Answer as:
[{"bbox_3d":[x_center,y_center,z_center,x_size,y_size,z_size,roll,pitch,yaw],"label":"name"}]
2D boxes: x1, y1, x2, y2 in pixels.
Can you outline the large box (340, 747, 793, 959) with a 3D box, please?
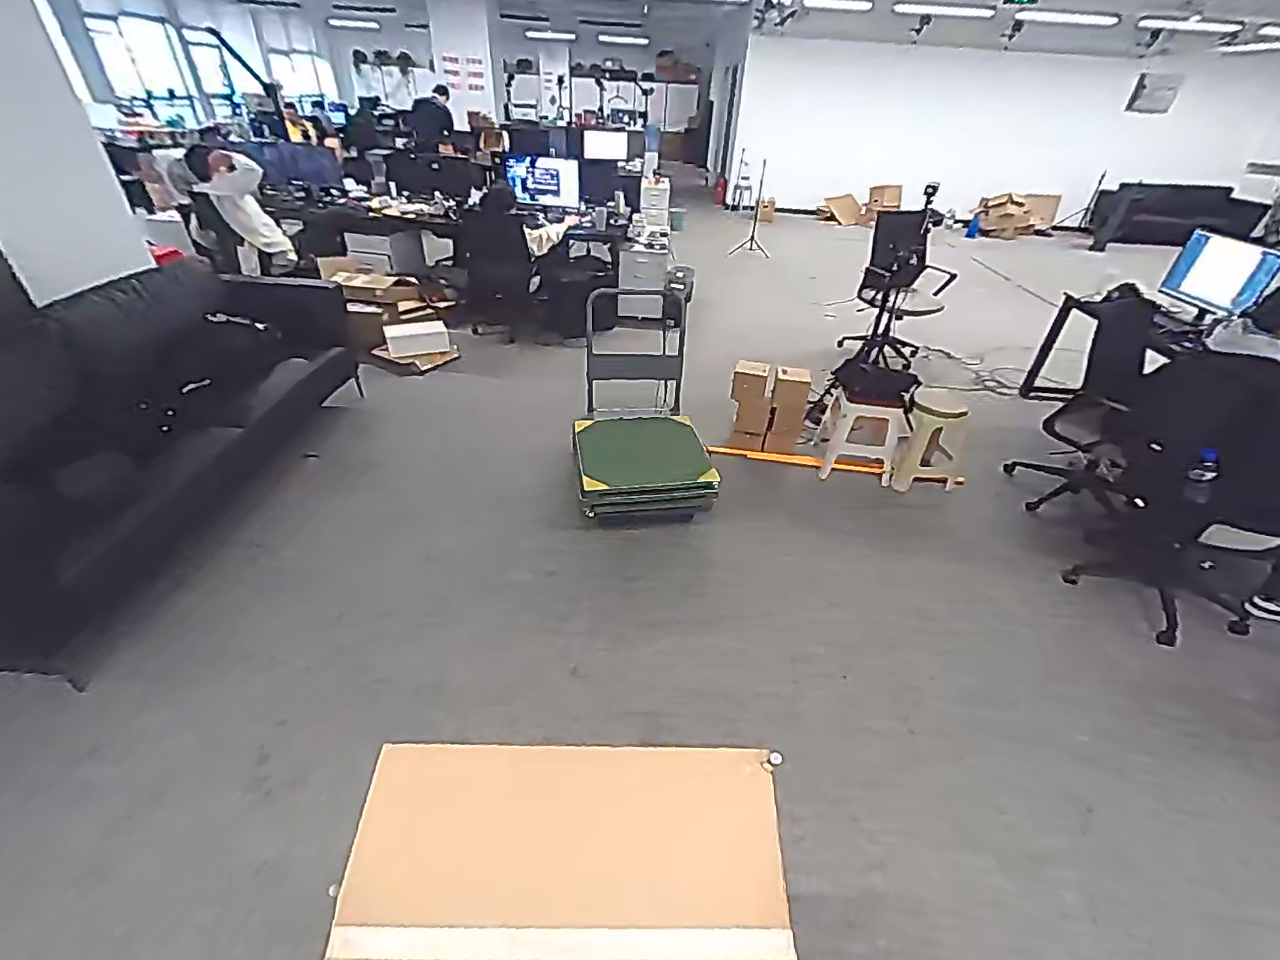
[{"bbox_3d":[-0.068,0.499,0.598,0.408,0.320,0.320,1,53,-1],"label":"large box"}]
